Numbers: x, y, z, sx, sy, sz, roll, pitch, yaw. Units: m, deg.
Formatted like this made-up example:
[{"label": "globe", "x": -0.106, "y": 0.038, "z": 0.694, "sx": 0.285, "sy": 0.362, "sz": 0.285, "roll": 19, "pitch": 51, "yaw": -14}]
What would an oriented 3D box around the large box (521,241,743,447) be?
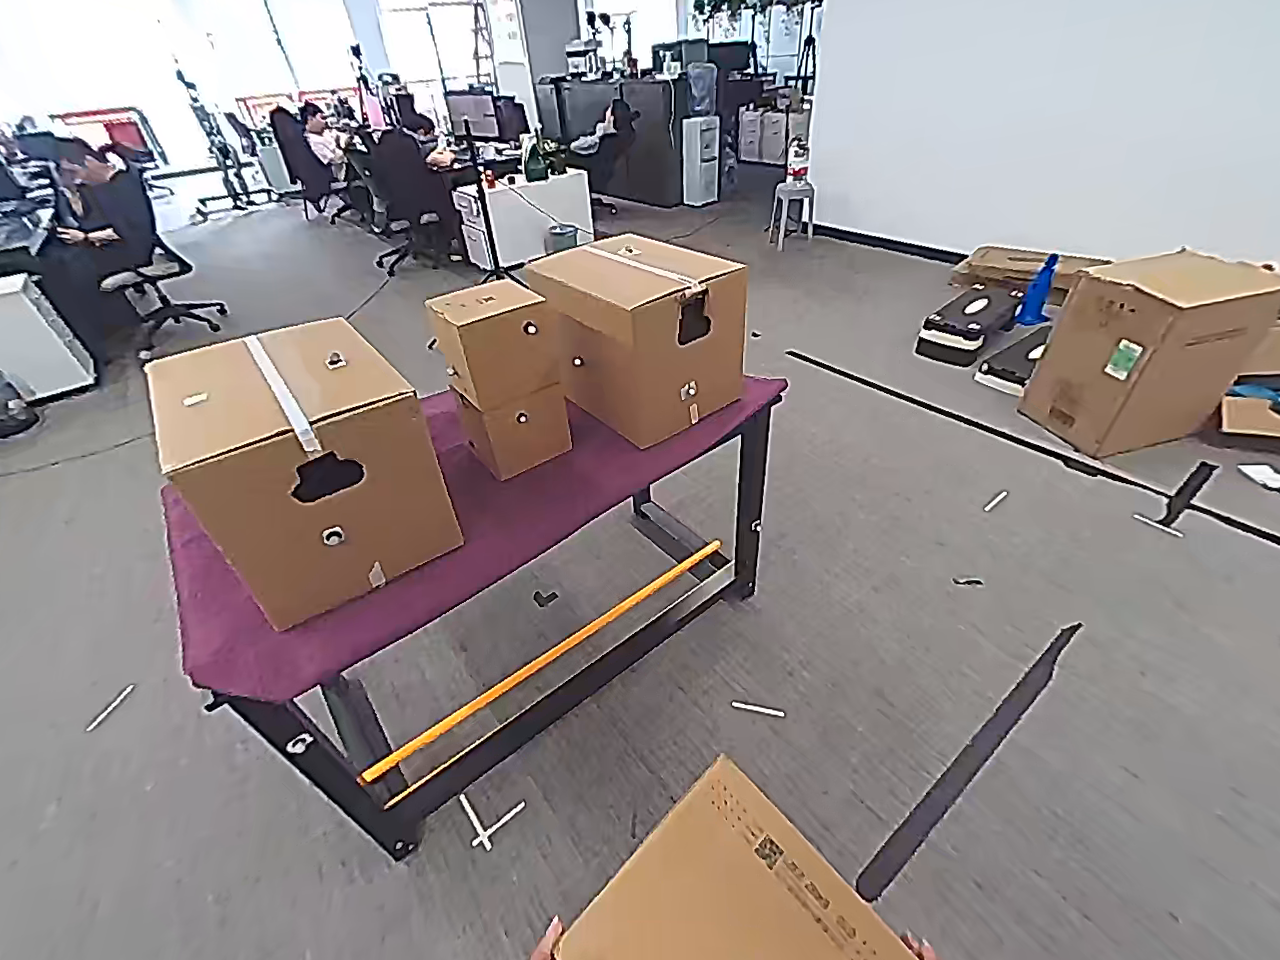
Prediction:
[{"label": "large box", "x": -0.014, "y": -0.330, "z": 1.249, "sx": 0.320, "sy": 0.320, "sz": 0.408, "roll": -29, "pitch": 43, "yaw": -28}]
